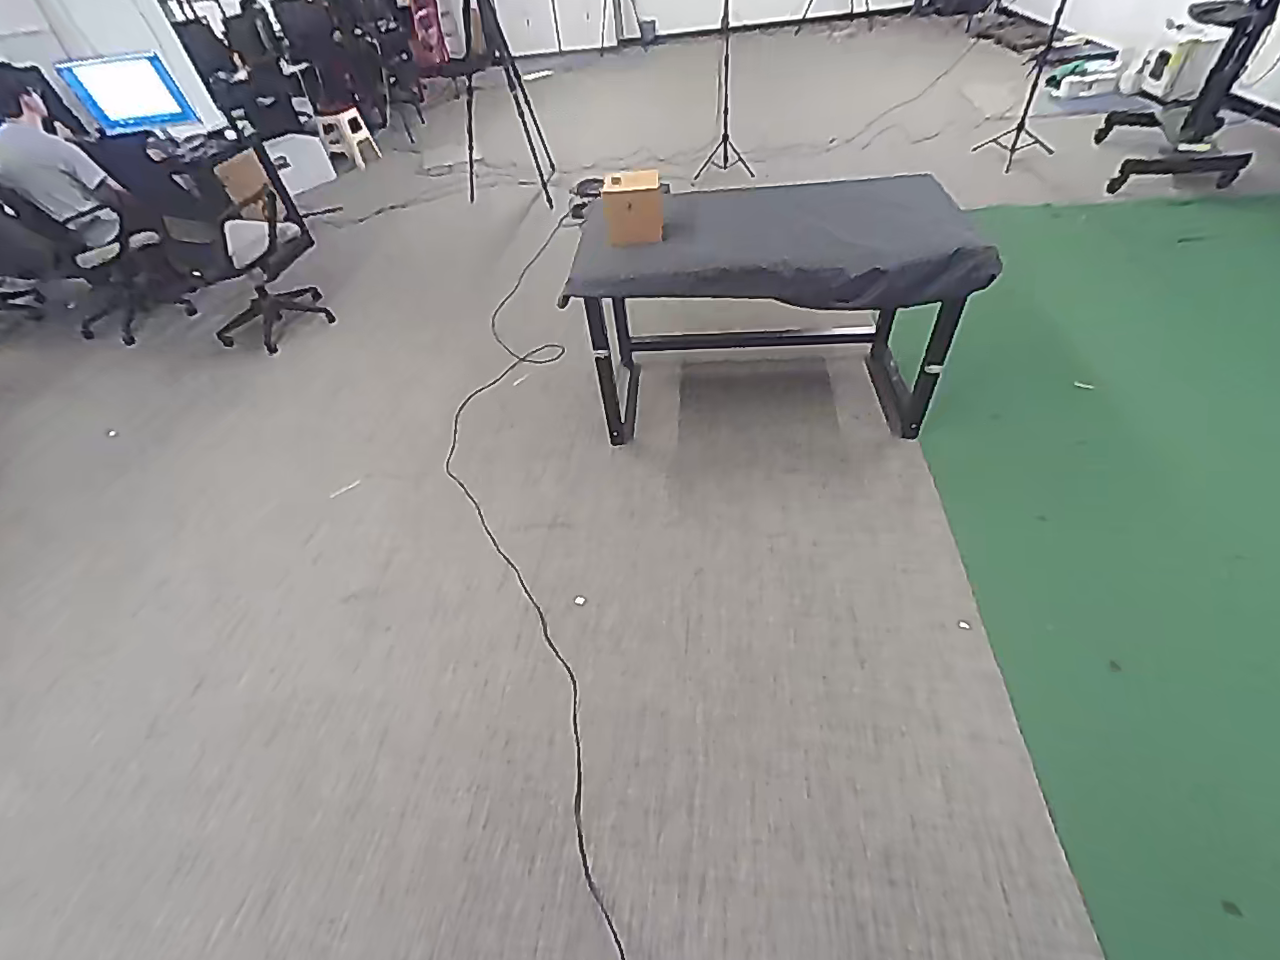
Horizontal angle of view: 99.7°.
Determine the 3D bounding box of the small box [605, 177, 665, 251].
[{"bbox_3d":[-0.012,-0.861,1.757,0.179,0.176,0.168,-2,46,4],"label":"small box"}]
